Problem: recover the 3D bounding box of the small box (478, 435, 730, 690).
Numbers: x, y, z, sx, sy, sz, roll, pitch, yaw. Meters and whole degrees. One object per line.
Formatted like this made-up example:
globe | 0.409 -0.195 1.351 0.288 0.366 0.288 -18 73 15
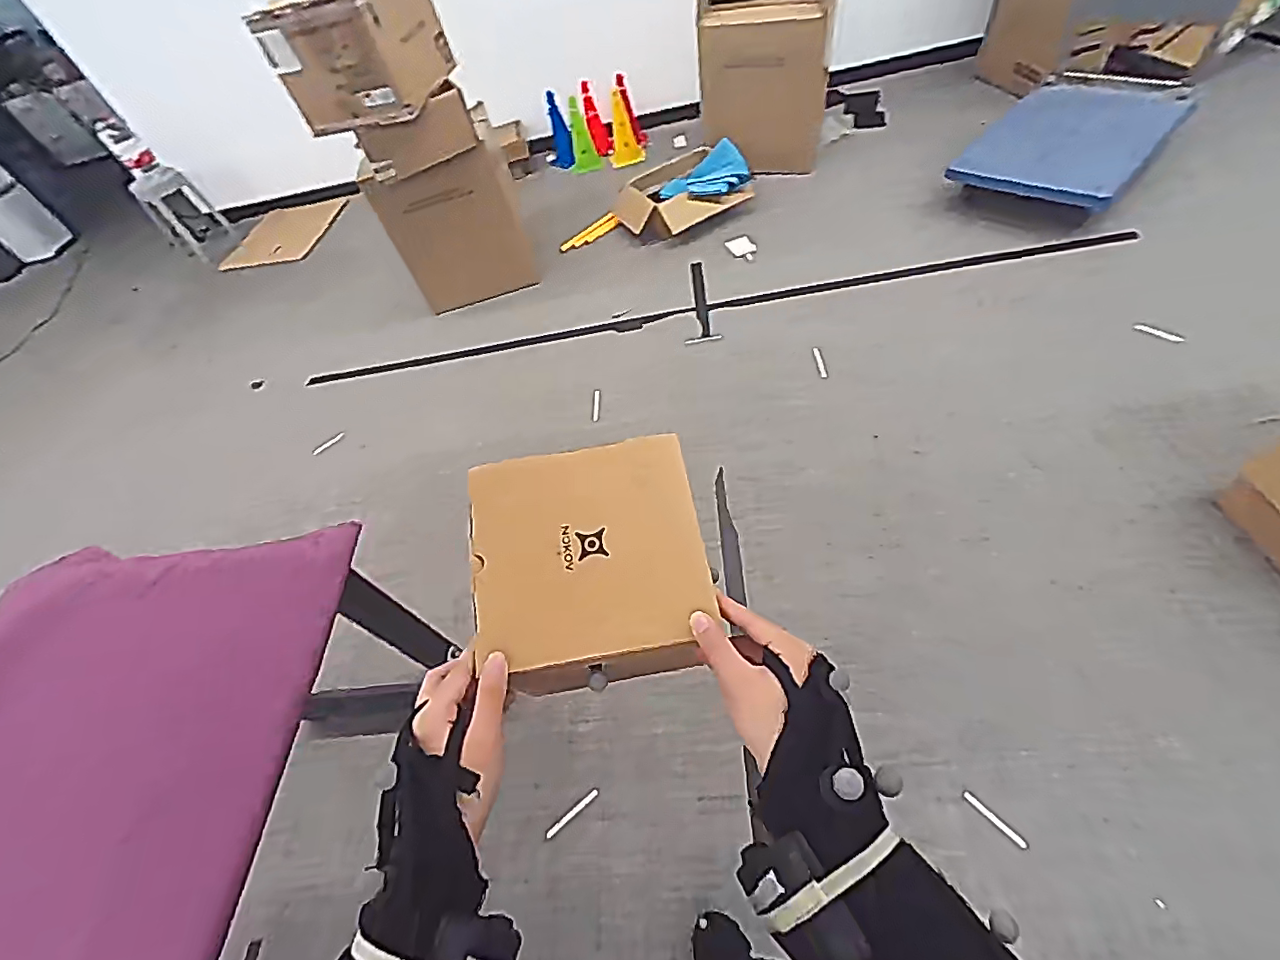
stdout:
small box | -0.031 0.082 0.482 0.179 0.176 0.168 -10 63 -1
